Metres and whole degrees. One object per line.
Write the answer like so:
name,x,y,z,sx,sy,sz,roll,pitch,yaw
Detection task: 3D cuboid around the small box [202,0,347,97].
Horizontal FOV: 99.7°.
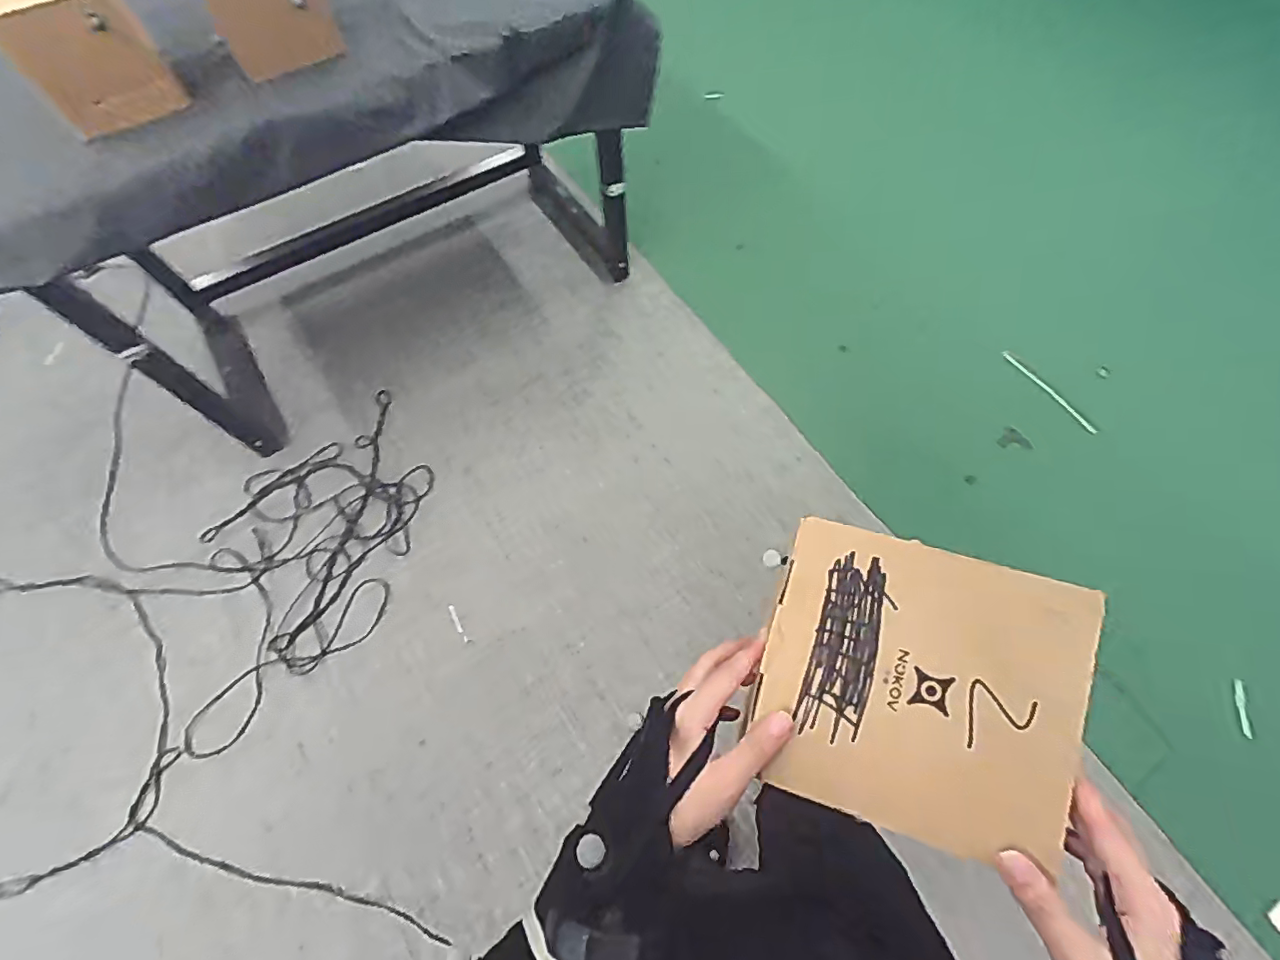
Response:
small box,-0.639,-0.810,0.931,0.179,0.176,0.168,-32,66,-12

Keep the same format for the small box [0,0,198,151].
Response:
small box,-0.876,-0.673,0.872,0.179,0.176,0.168,-32,67,-13
